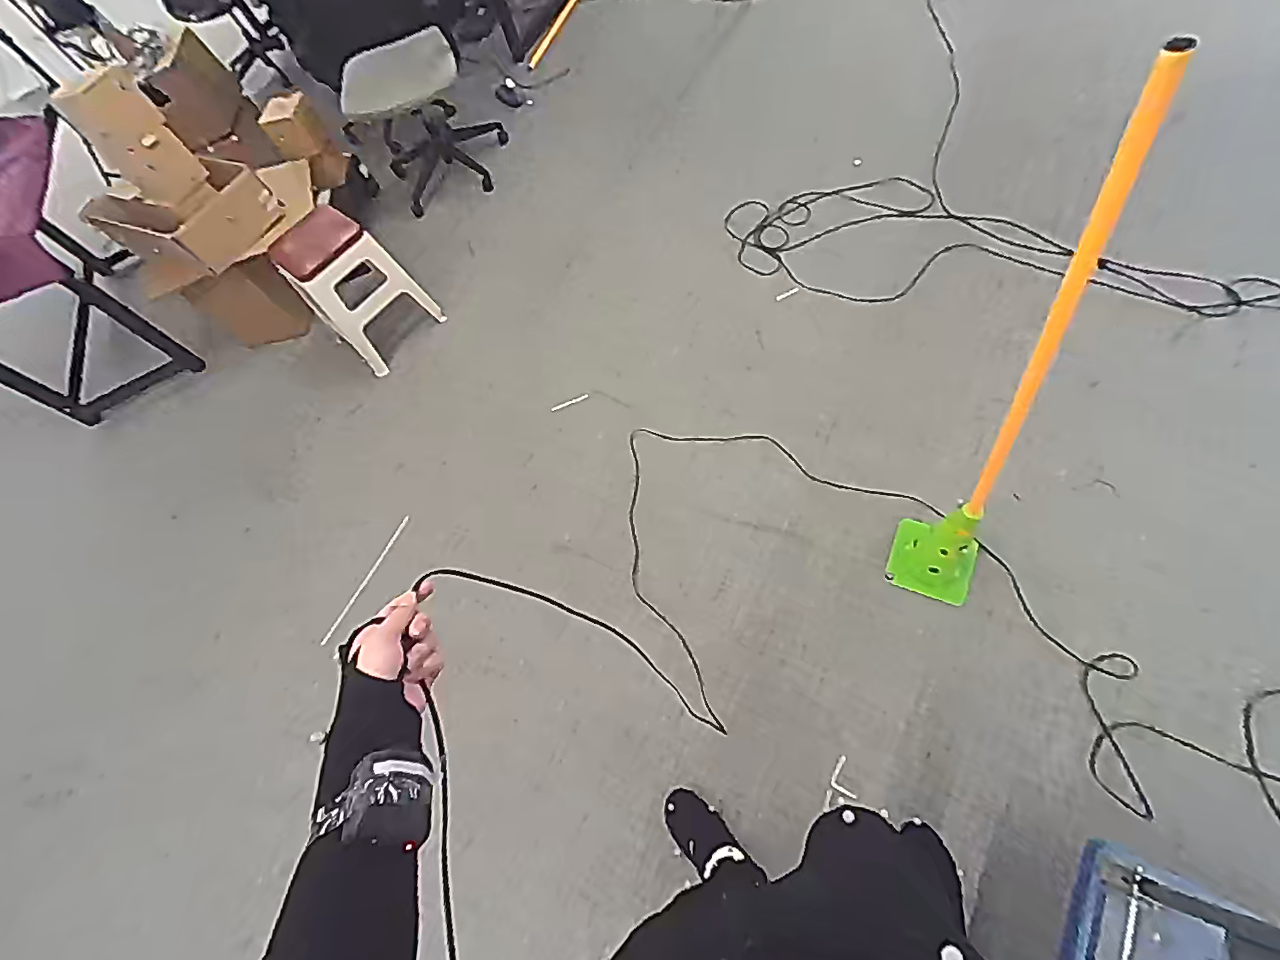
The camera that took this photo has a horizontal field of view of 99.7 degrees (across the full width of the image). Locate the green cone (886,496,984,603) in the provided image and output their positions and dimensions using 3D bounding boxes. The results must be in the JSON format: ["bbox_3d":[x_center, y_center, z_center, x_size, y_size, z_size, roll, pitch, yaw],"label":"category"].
[{"bbox_3d":[0.752,0.136,1.307,0.200,0.368,0.202,18,69,21],"label":"green cone"}]
